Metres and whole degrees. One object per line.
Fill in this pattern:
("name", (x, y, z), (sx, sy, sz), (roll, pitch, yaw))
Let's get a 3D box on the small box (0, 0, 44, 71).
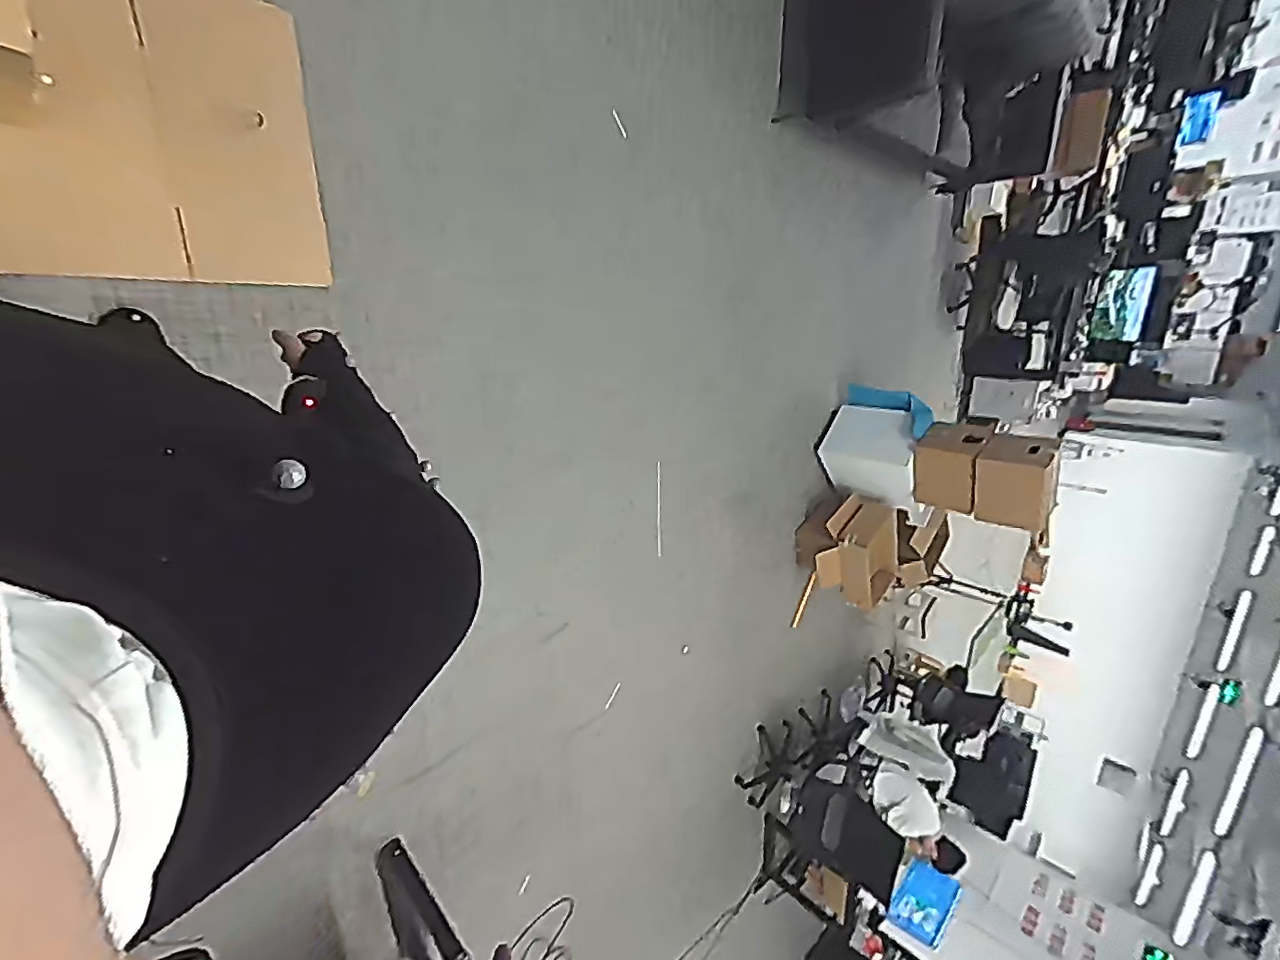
("small box", (-0.903, -0.665, 0.689), (0.179, 0.176, 0.168), (-6, 108, -44))
